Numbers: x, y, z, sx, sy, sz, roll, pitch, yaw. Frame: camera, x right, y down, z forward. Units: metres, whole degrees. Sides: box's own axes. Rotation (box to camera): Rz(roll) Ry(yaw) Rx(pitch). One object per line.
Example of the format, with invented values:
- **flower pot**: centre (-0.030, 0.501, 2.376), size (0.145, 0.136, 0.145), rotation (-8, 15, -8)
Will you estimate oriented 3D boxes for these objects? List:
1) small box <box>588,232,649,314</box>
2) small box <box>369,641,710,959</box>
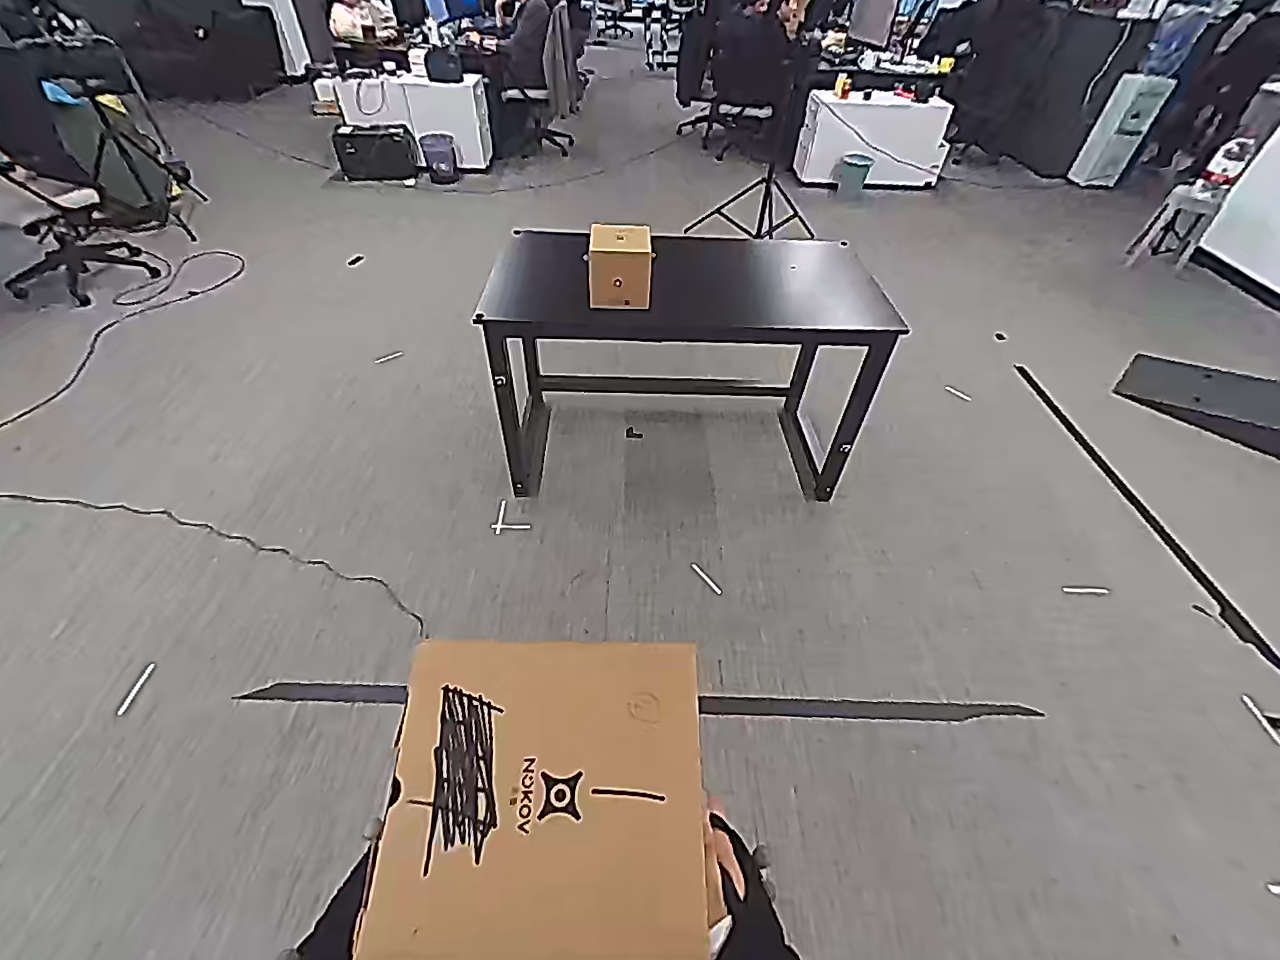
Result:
- **small box**: centre (-0.060, -0.590, 1.543), size (0.168, 0.176, 0.179), rotation (1, 45, -3)
- **small box**: centre (-0.051, 0.215, 0.379), size (0.179, 0.176, 0.168), rotation (1, 61, -1)
